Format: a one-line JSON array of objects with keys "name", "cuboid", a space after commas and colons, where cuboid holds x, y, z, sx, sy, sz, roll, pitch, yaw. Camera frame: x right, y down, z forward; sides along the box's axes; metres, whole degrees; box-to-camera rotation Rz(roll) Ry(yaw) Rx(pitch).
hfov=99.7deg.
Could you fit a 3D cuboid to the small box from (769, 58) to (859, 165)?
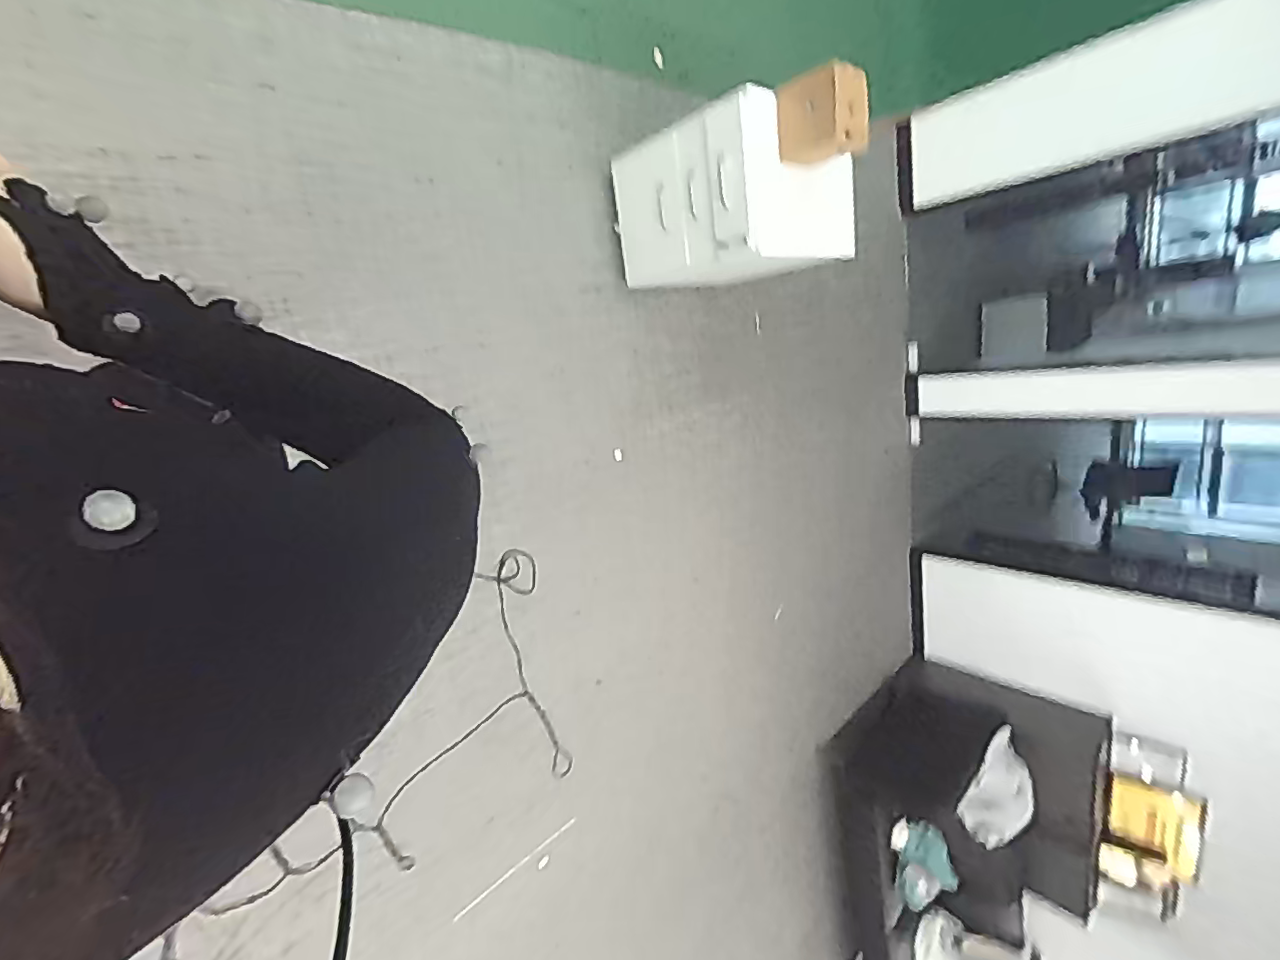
[{"name": "small box", "cuboid": [0.456, -0.959, 1.423, 0.168, 0.176, 0.179, -21, 110, -38]}]
